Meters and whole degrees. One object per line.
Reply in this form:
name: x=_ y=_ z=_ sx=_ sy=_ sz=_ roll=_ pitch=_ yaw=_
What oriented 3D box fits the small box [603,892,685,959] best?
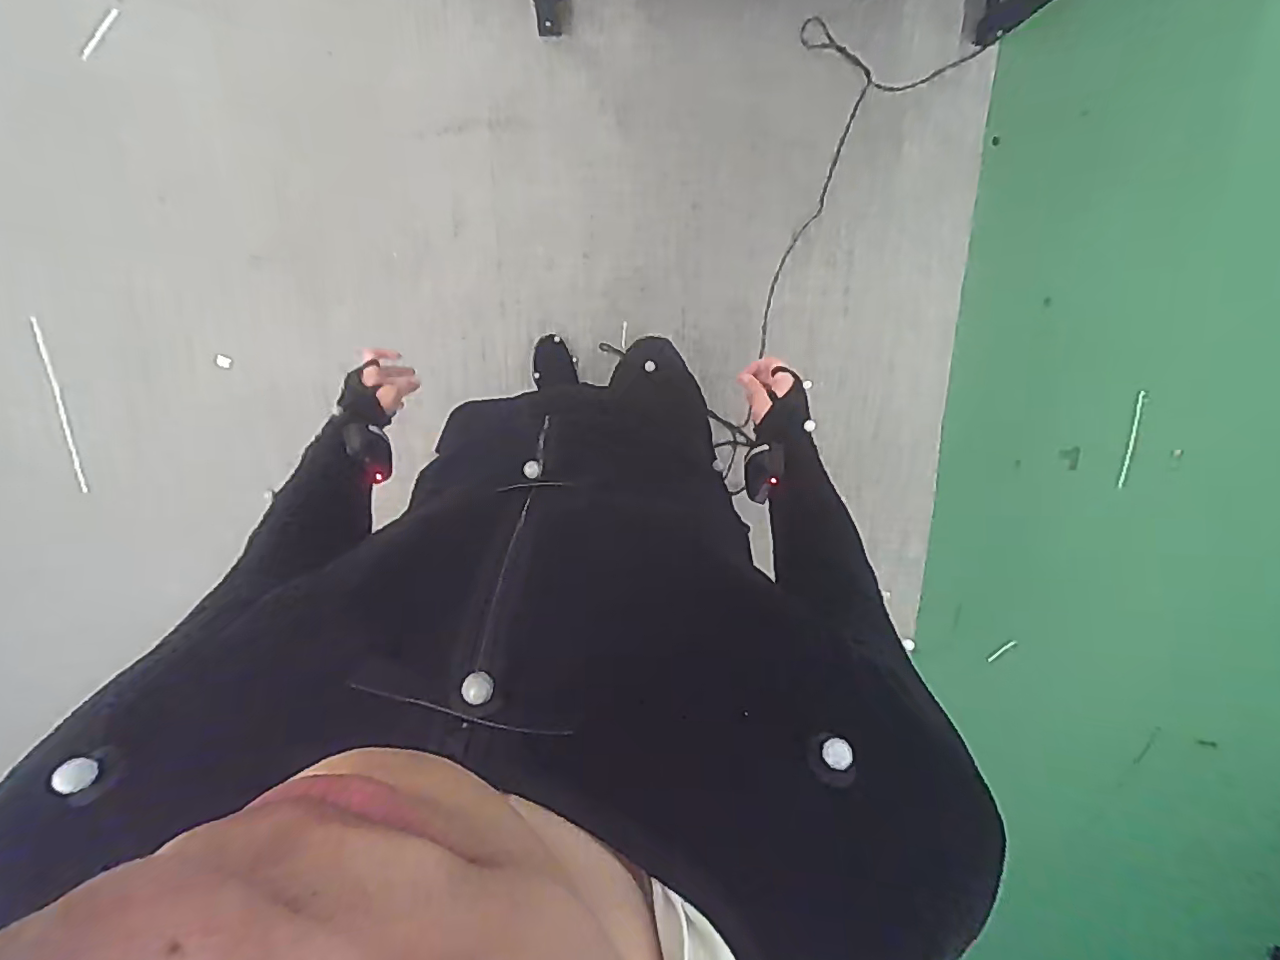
small box: x=0.003 y=1.102 z=1.257 sx=0.168 sy=0.176 sz=0.179 roll=5 pitch=104 yaw=-5
